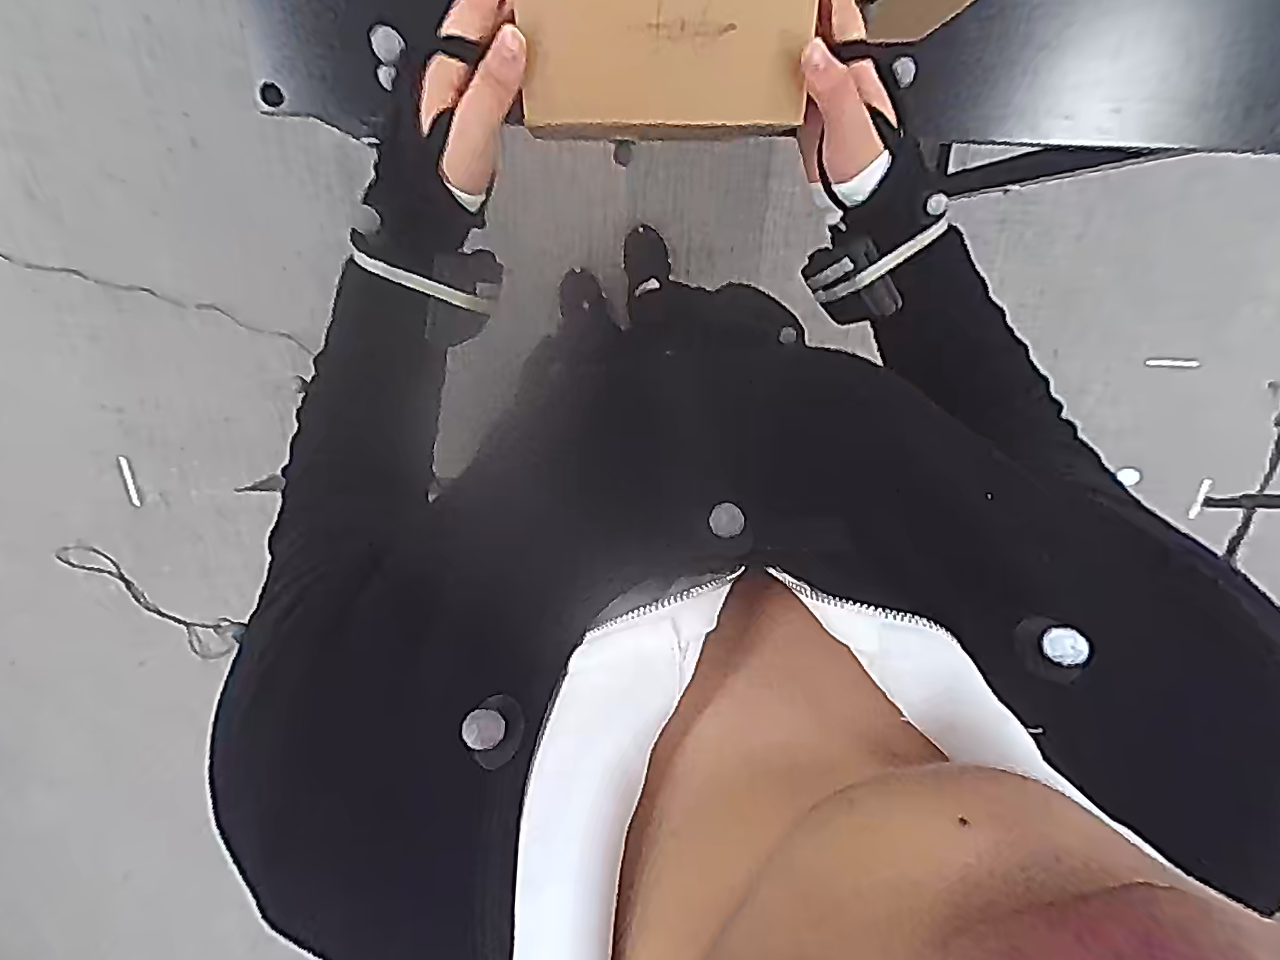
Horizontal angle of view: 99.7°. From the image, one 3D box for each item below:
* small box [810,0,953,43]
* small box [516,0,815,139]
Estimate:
[{"bbox_3d":[0.220,-0.526,0.487,0.179,0.176,0.168,-4,111,-2],"label":"small box"},{"bbox_3d":[0.004,-0.326,0.342,0.168,0.176,0.179,-4,120,-6],"label":"small box"}]
